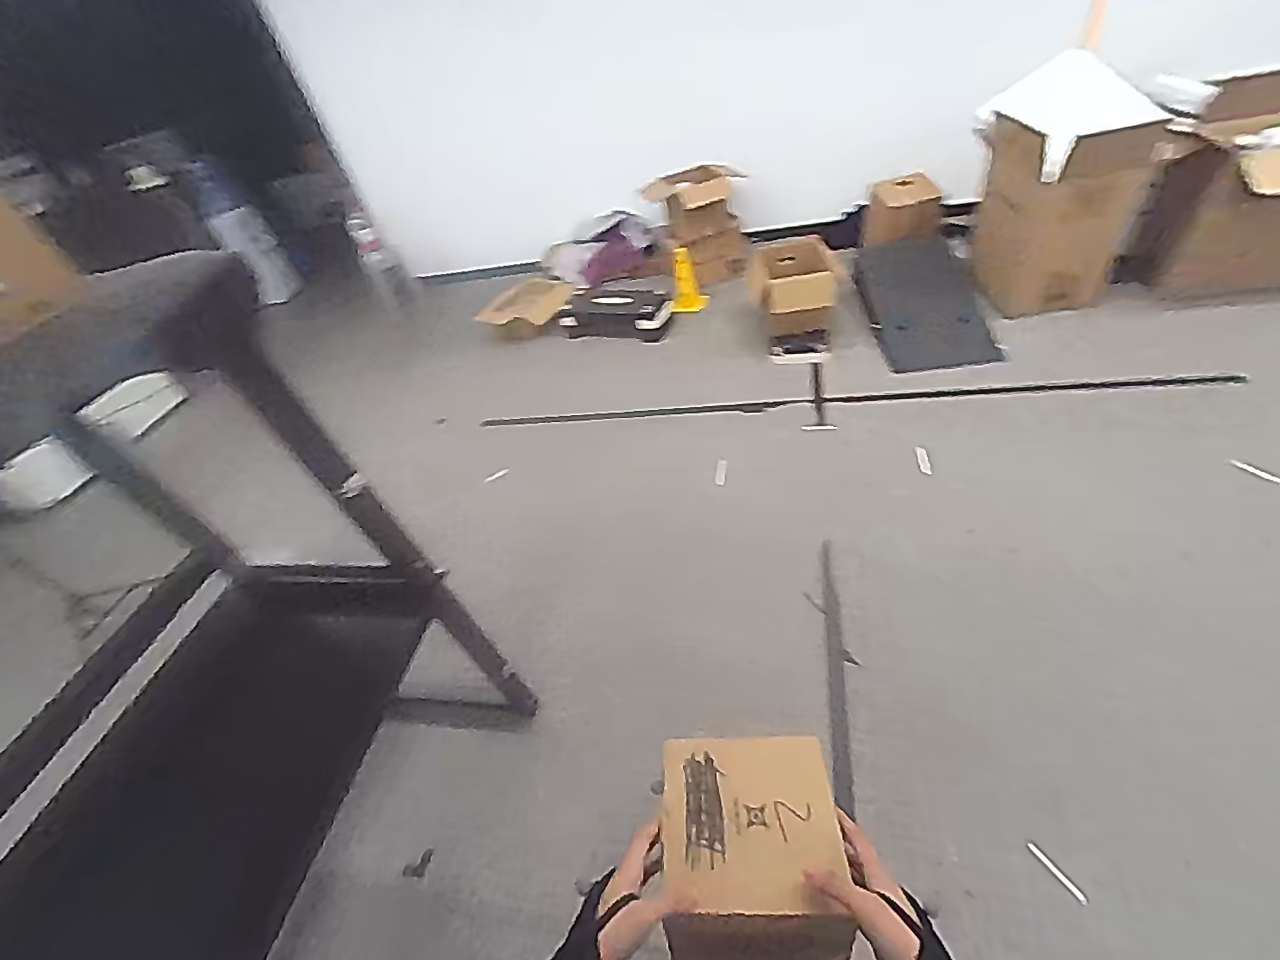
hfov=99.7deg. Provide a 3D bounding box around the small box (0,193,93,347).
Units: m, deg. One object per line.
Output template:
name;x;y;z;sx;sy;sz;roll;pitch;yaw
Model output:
small box;-0.830;-0.246;0.633;0.179;0.176;0.168;4;48;20
